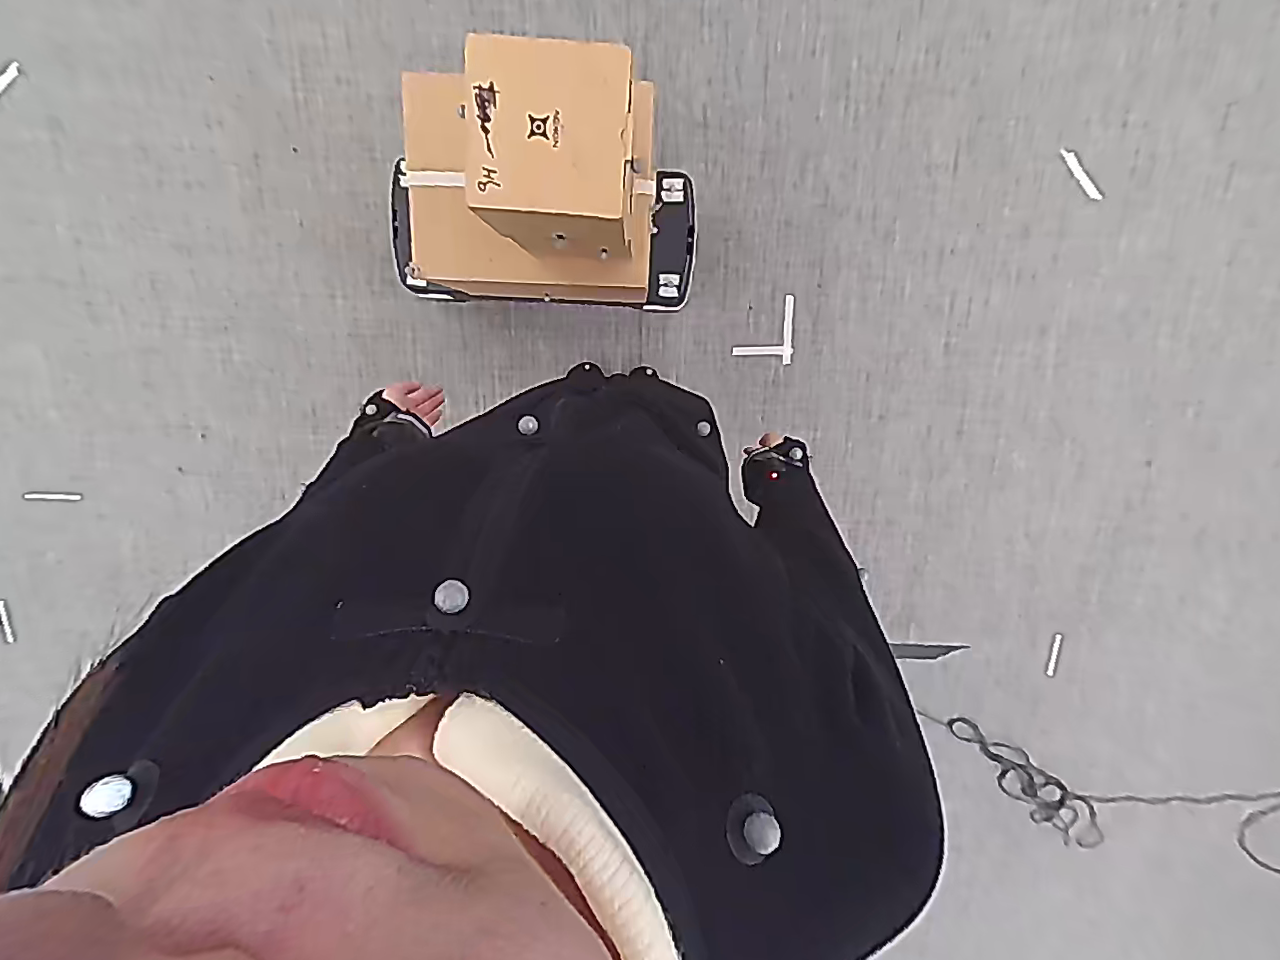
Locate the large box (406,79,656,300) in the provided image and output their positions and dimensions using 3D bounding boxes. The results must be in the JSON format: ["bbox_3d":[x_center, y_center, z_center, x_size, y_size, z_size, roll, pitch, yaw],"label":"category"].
[{"bbox_3d":[-0.173,-0.516,1.030,0.408,0.320,0.320,2,103,0],"label":"large box"}]

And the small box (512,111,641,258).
[{"bbox_3d":[-0.089,-0.431,0.799,0.179,0.176,0.168,2,104,0],"label":"small box"}]

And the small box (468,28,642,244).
[{"bbox_3d":[-0.093,-0.386,0.641,0.179,0.176,0.168,4,103,-2],"label":"small box"}]

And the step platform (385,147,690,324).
[{"bbox_3d":[-0.227,-0.556,1.265,0.684,0.204,0.286,8,103,-1],"label":"step platform"}]
